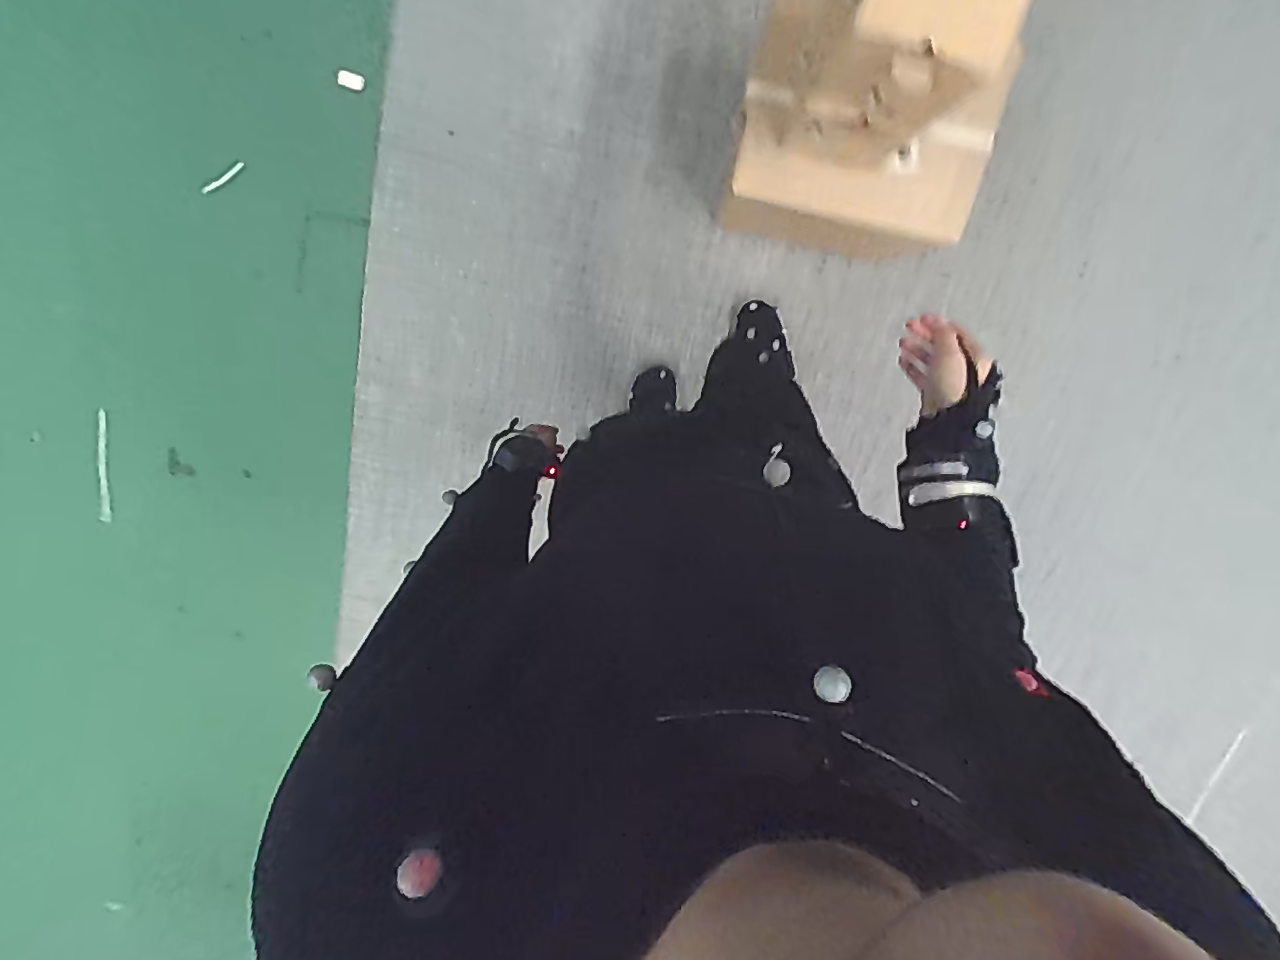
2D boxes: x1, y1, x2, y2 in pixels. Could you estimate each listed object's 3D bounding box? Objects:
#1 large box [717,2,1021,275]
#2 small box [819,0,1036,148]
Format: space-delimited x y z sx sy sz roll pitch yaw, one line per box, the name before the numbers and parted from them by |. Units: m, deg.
large box | 0.388 -0.609 1.036 0.408 0.320 0.320 12 105 -2
small box | 0.333 -0.535 0.637 0.168 0.176 0.179 18 104 -2
